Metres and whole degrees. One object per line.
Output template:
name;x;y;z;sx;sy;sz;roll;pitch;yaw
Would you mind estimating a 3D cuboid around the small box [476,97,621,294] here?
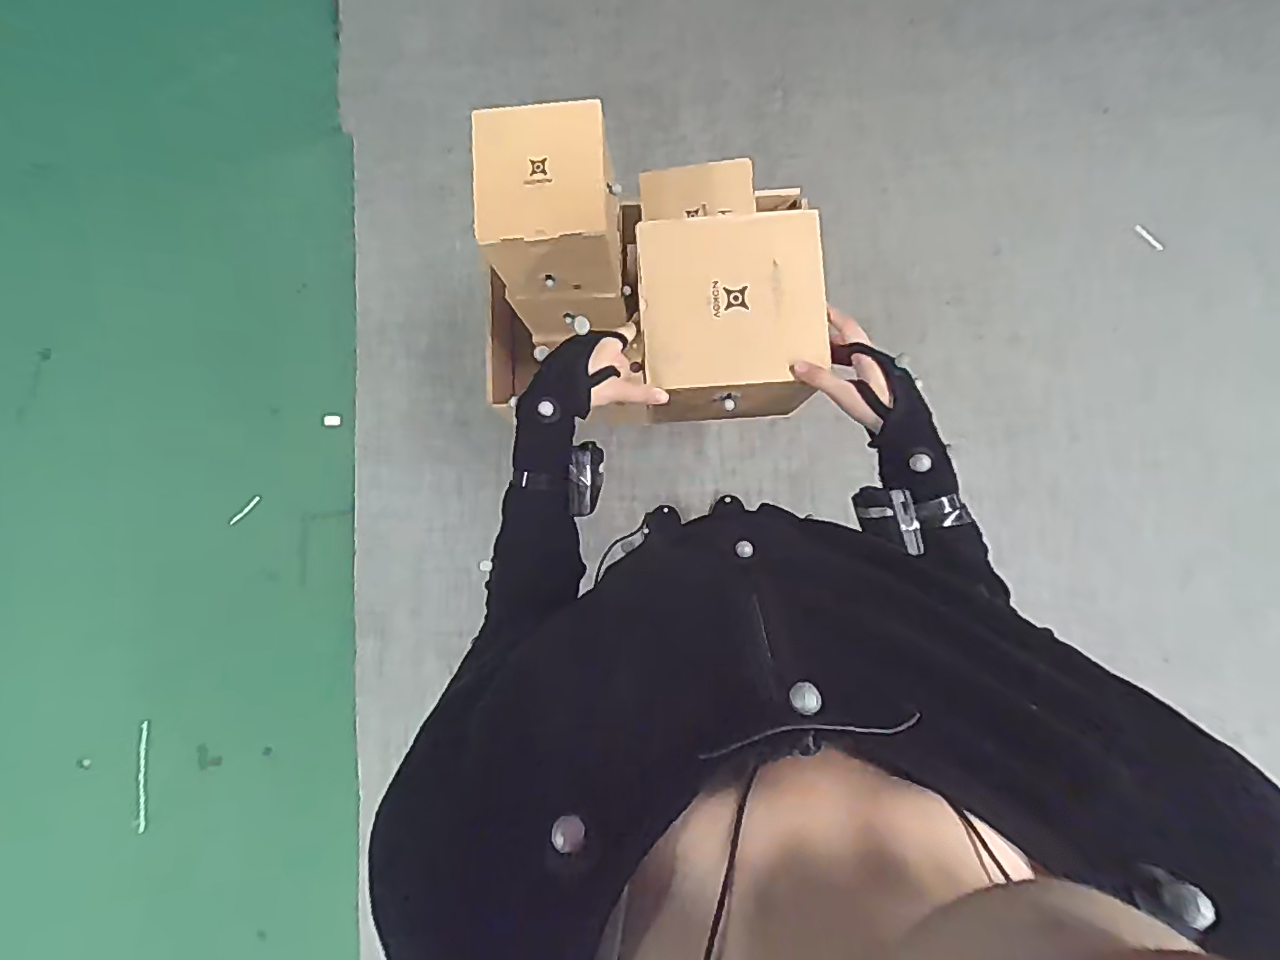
small box;-0.117;-0.379;0.747;0.168;0.176;0.179;-3;86;3
